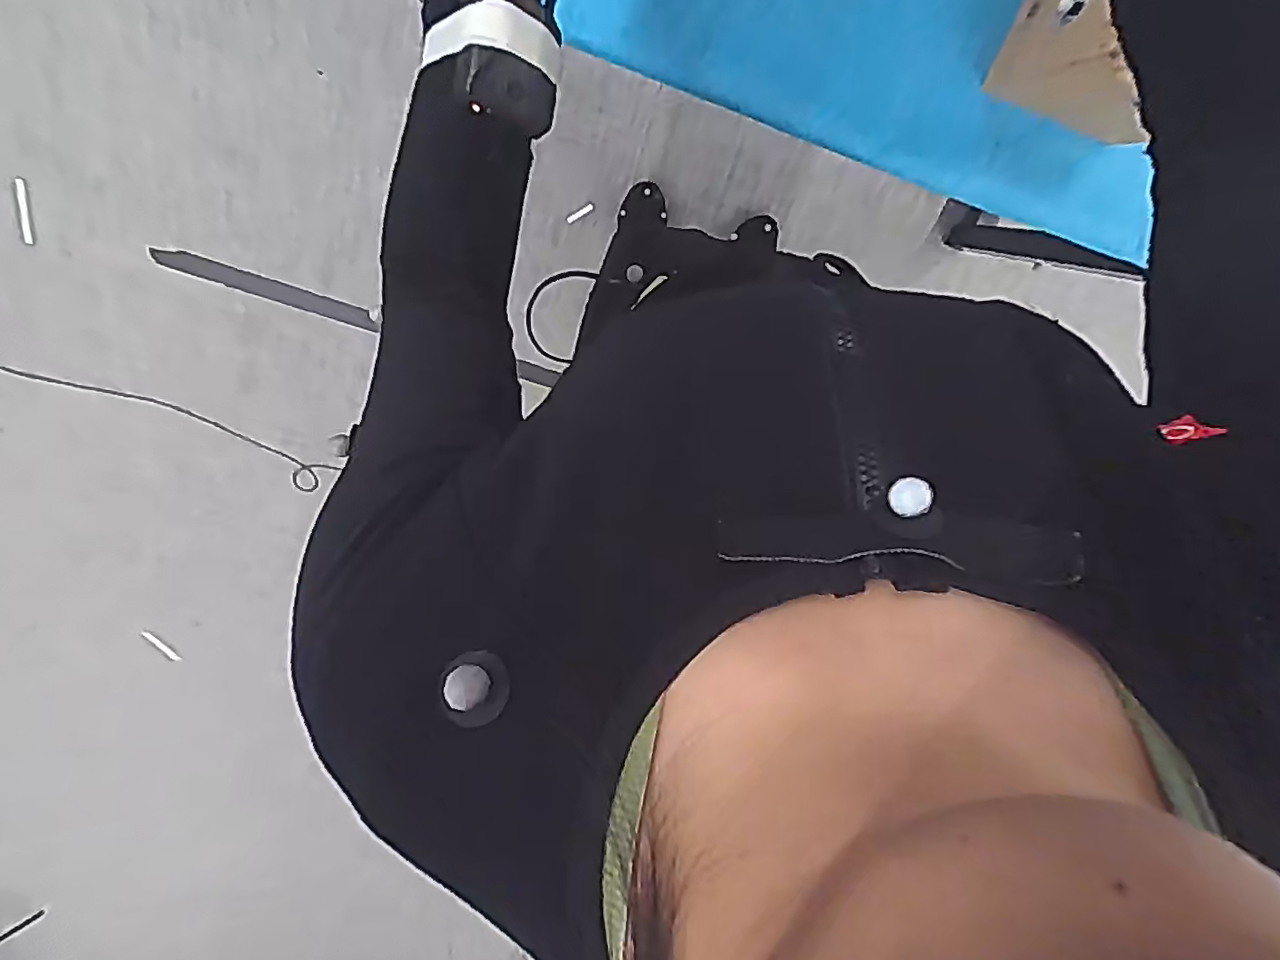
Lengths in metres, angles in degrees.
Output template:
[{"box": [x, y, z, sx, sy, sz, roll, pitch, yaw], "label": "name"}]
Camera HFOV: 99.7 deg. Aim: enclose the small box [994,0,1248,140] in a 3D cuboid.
[{"box": [0.463, -0.414, 0.466, 0.179, 0.176, 0.168, 15, 118, -11], "label": "small box"}]
